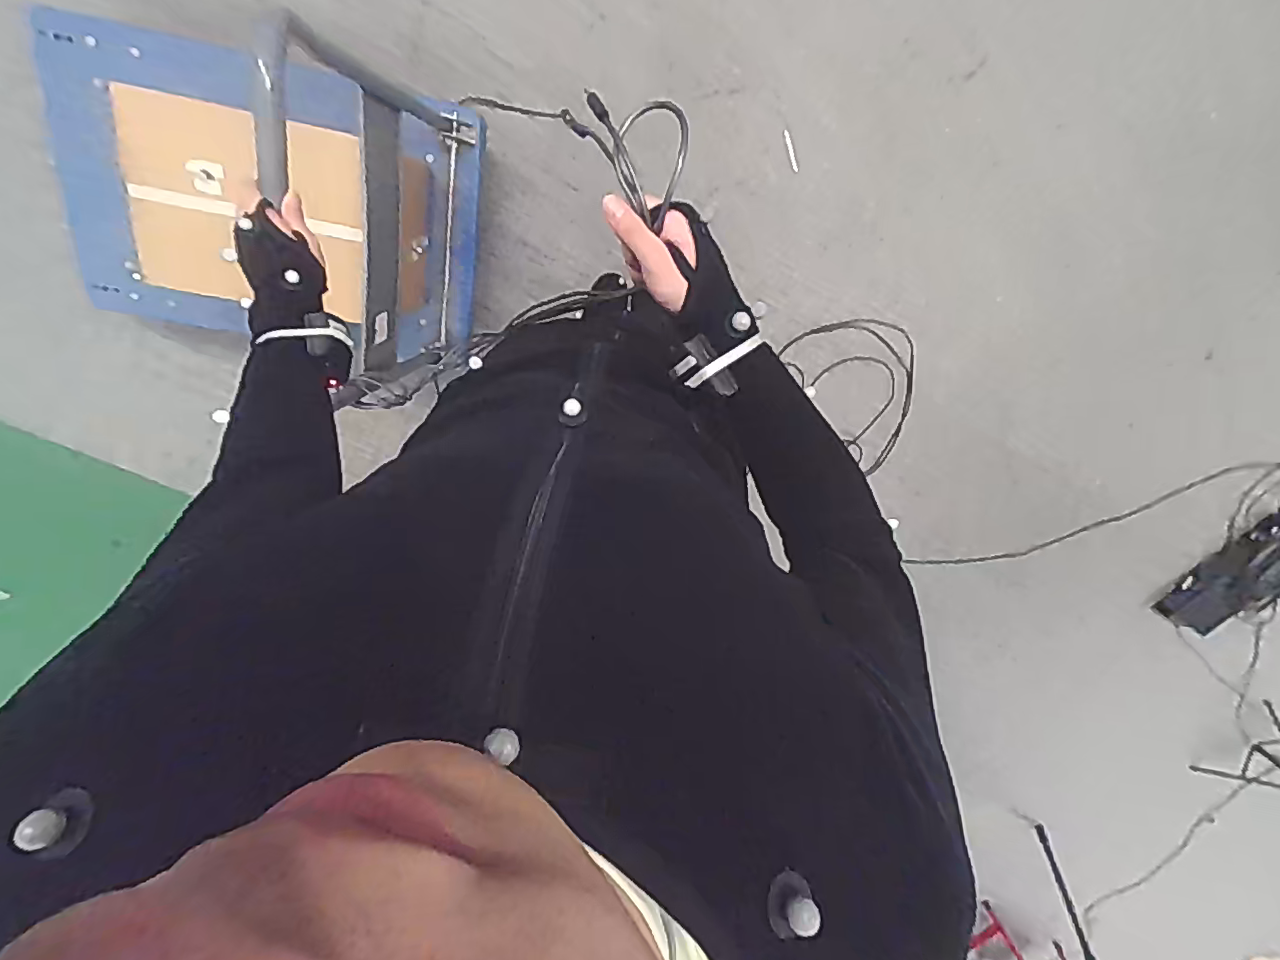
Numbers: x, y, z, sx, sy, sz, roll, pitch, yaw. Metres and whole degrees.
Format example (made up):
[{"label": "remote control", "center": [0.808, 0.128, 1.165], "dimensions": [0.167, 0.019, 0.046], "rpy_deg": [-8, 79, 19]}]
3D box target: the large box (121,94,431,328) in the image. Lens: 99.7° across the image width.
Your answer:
[{"label": "large box", "center": [-0.668, -0.515, 1.080], "dimensions": [0.408, 0.320, 0.320], "rpy_deg": [10, 113, -5]}]
